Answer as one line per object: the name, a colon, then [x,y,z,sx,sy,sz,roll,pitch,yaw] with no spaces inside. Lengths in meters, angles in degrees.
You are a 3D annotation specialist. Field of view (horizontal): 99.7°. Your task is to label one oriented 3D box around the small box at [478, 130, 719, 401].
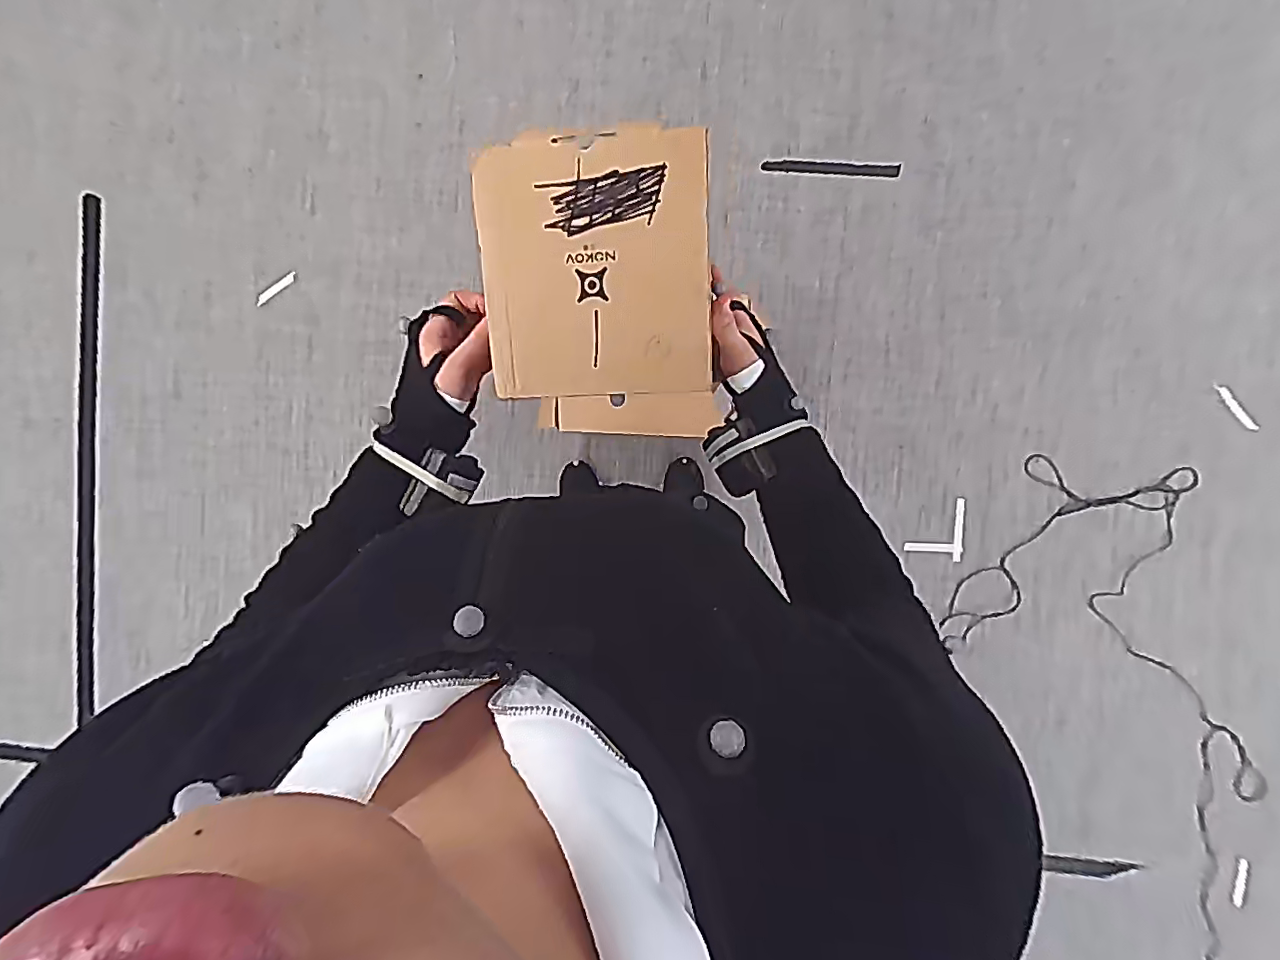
small box: [-0.021,-0.161,0.456,0.168,0.176,0.179,-1,103,6]
